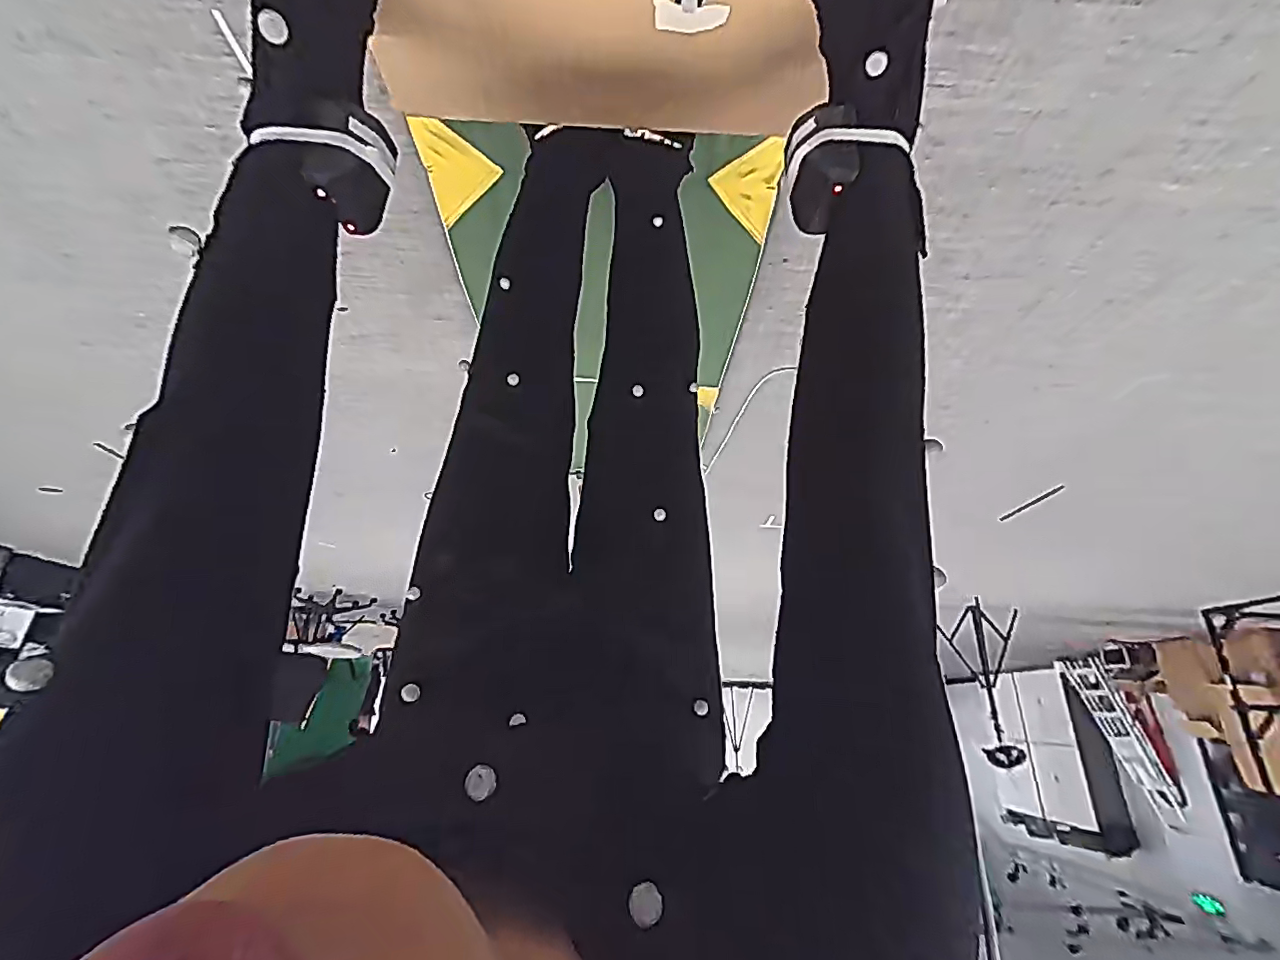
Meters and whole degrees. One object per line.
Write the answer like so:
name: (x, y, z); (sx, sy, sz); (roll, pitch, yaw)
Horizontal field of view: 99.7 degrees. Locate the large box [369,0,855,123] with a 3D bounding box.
large box: (-0.021, -0.549, 0.446); (0.408, 0.320, 0.320); (2, 157, -1)
